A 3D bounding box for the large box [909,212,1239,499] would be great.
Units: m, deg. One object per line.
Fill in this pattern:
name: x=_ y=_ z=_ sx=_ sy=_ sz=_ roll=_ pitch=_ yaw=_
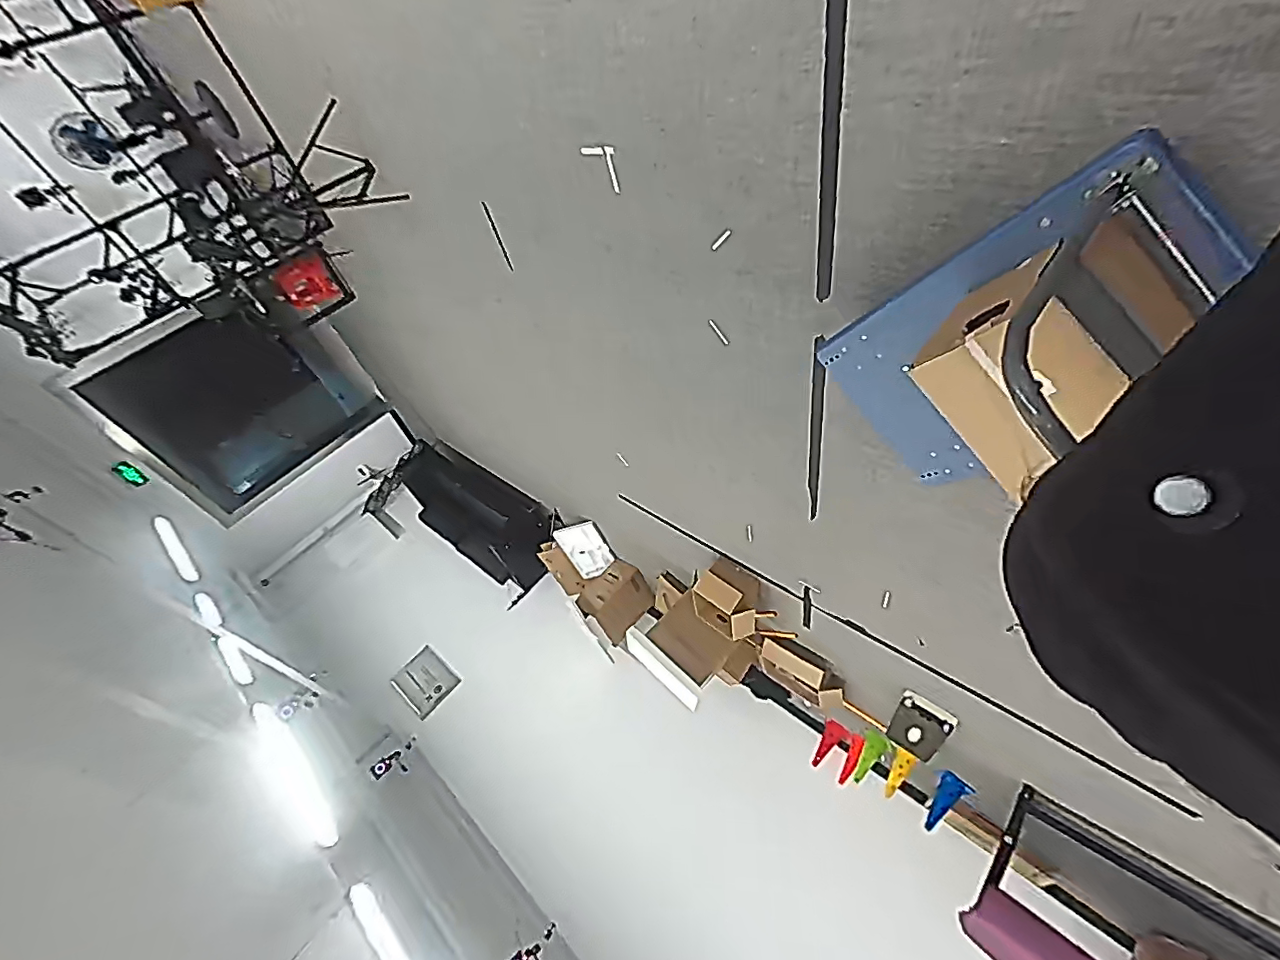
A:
large box: x=0.857 y=-0.229 z=1.087 sx=0.408 sy=0.320 sz=0.320 roll=48 pitch=156 yaw=-4
